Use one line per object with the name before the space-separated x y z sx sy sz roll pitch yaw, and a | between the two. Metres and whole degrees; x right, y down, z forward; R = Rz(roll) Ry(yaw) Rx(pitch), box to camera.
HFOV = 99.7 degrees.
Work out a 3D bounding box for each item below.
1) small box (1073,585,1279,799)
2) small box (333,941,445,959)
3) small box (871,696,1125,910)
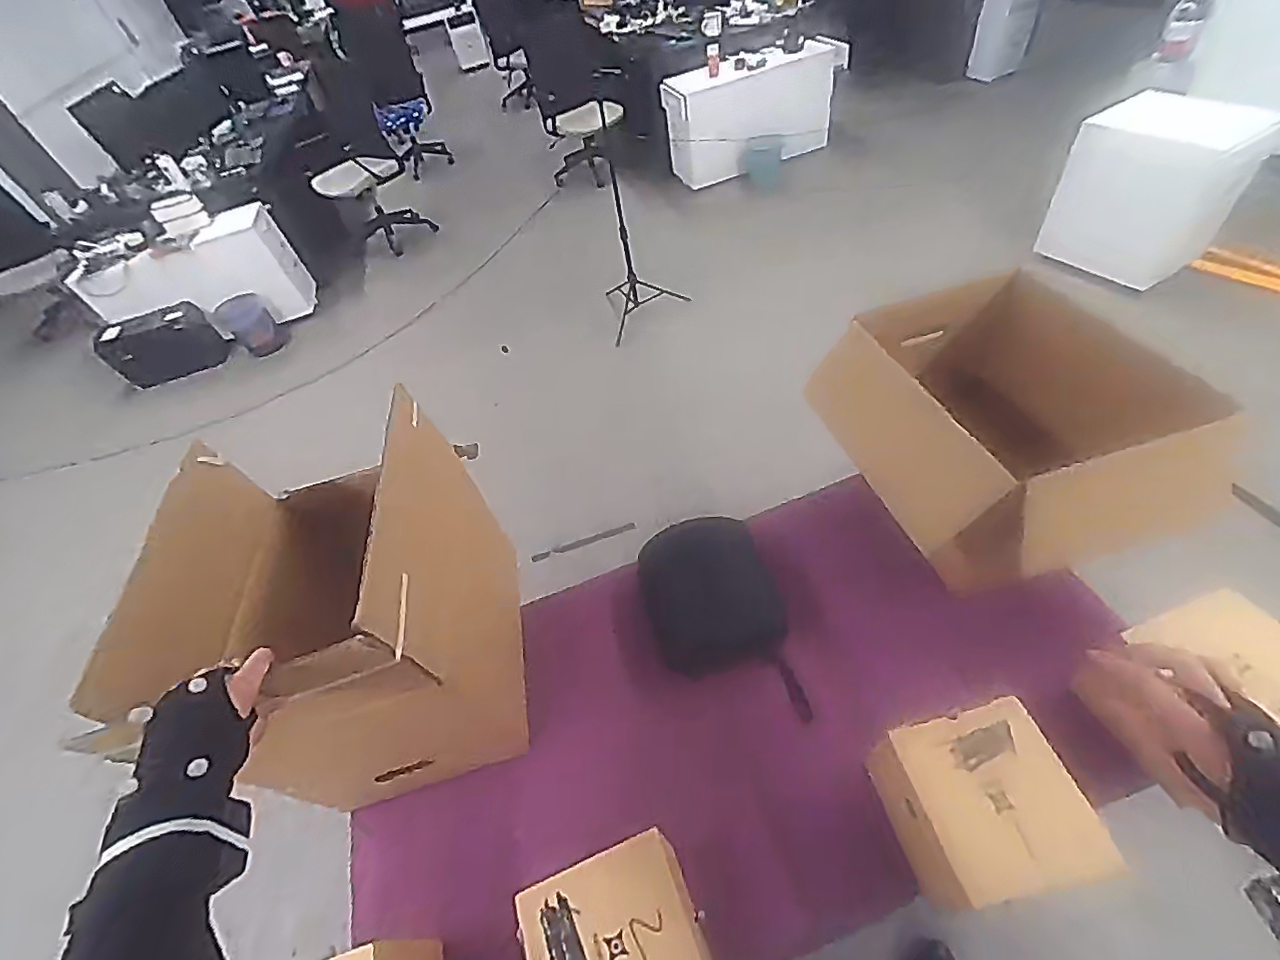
small box | 0.713 0.270 0.686 0.168 0.176 0.179 -22 49 -4
small box | -0.334 0.652 0.604 0.179 0.176 0.168 -18 49 -5
small box | 0.404 0.393 0.655 0.168 0.176 0.179 -16 50 -1
